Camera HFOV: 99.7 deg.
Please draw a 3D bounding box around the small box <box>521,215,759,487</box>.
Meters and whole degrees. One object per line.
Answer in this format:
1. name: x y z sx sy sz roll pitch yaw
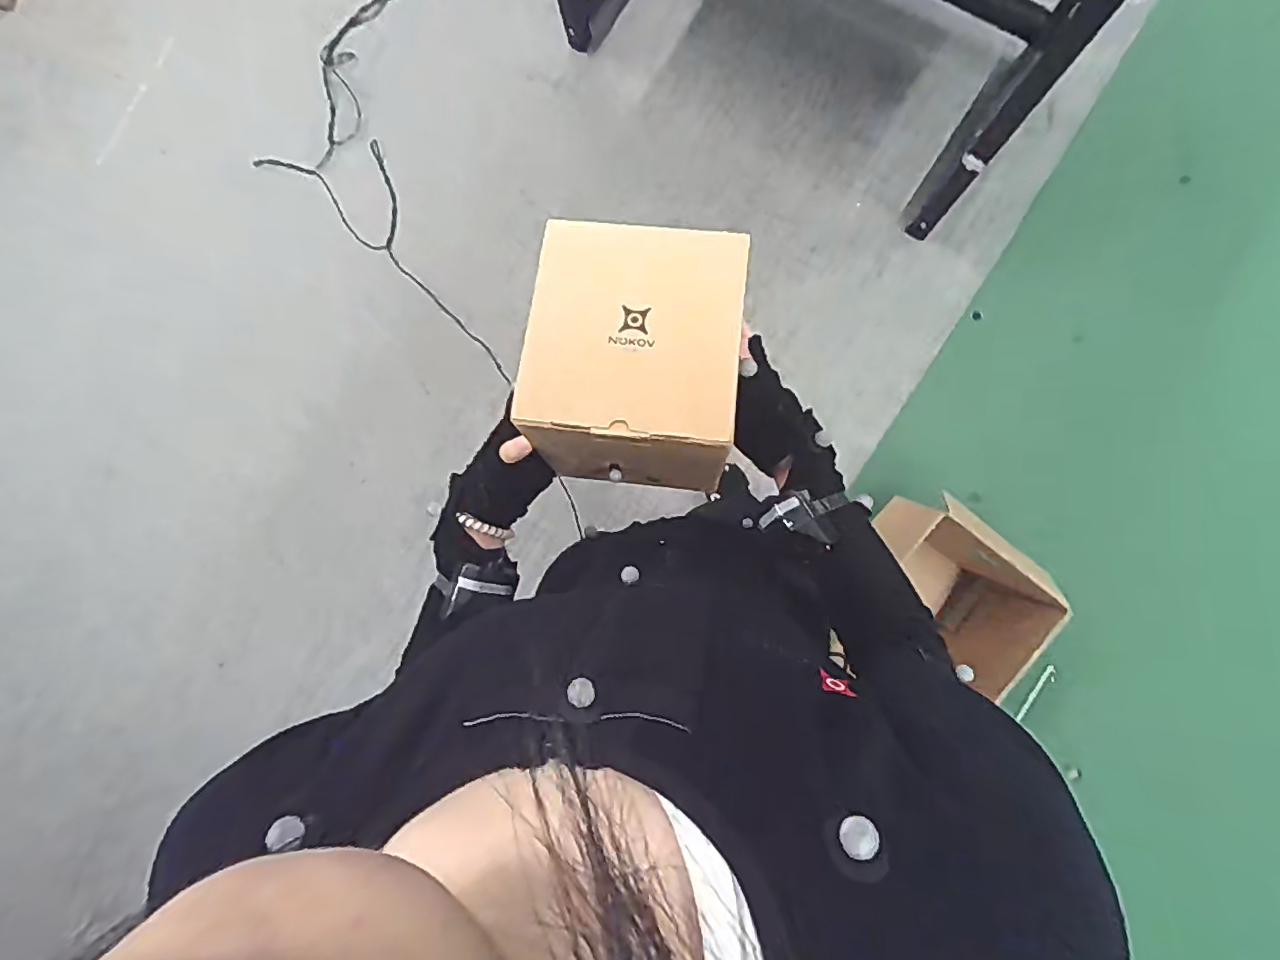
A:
1. small box: 0.005 -0.102 0.488 0.168 0.176 0.179 6 79 4
